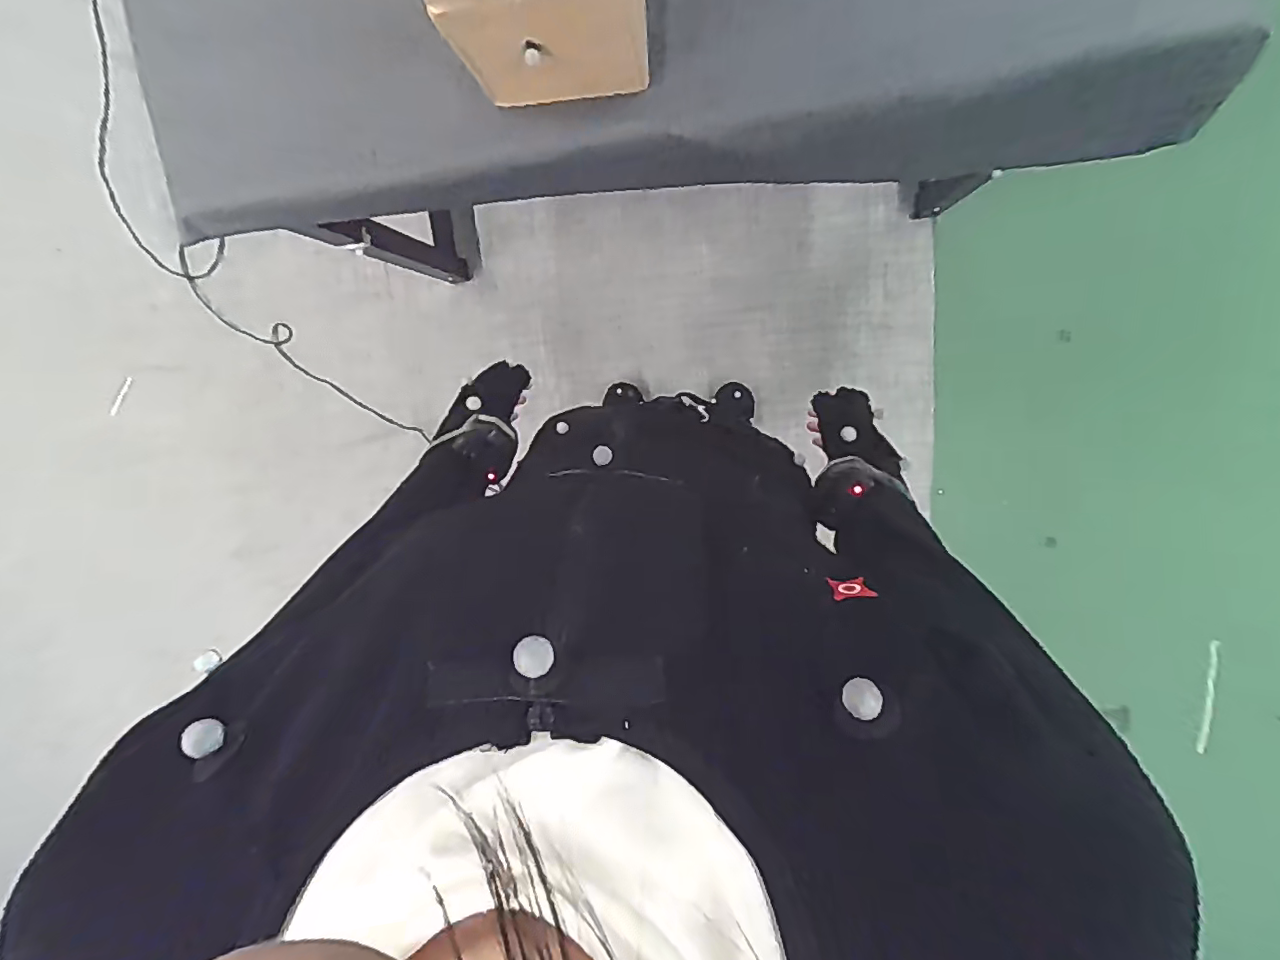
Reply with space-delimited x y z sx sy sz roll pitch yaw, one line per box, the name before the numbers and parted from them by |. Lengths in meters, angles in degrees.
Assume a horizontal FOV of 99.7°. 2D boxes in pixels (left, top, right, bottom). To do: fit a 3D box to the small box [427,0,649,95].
small box | -0.089 -0.498 0.512 0.179 0.176 0.168 -1 101 7
